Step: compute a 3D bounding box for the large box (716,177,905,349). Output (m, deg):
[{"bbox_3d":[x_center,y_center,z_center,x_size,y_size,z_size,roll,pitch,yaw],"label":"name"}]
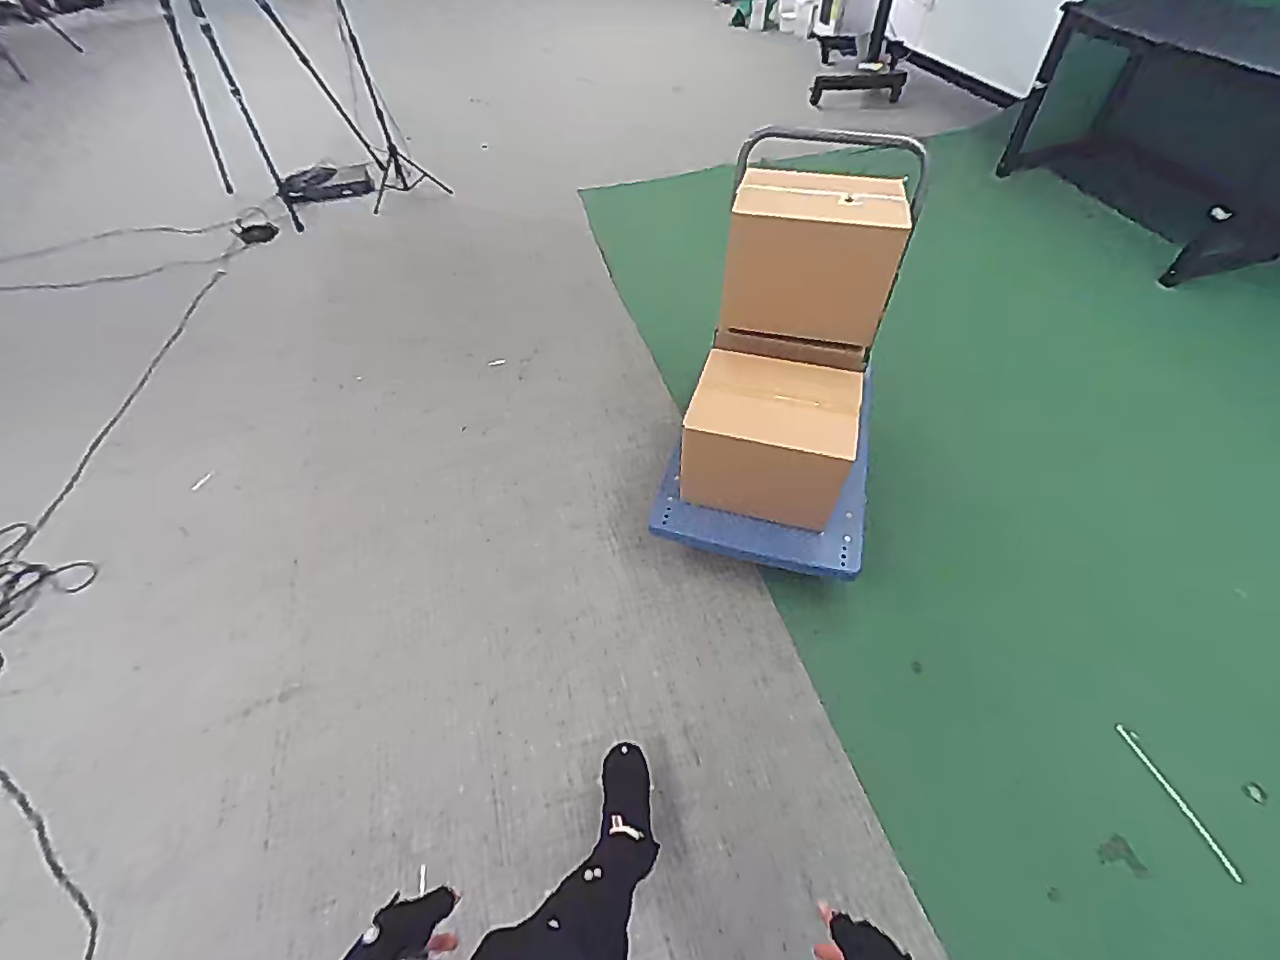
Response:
[{"bbox_3d":[0.434,-0.581,1.447,0.408,0.320,0.320,11,48,10],"label":"large box"}]
